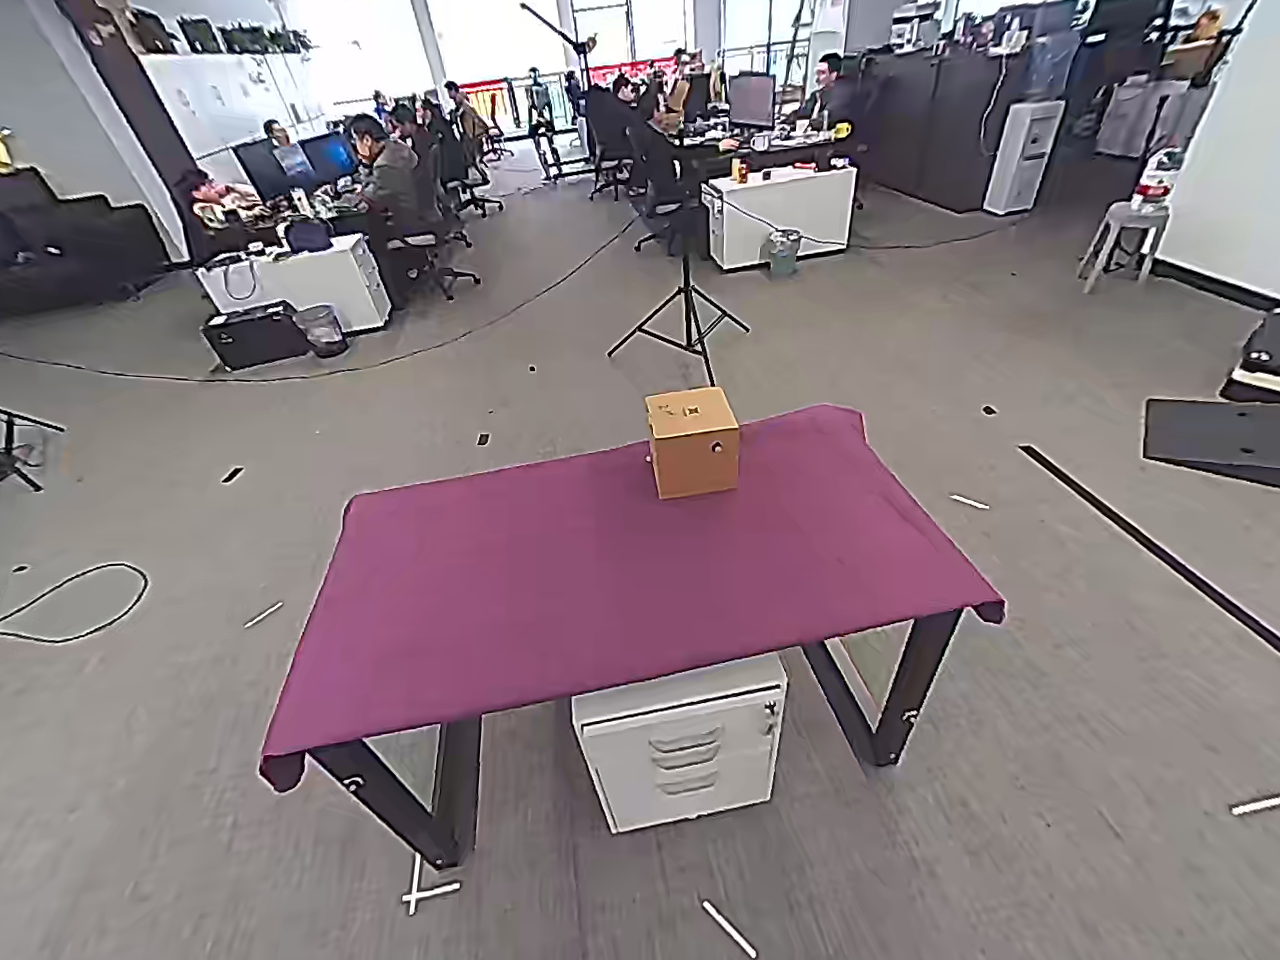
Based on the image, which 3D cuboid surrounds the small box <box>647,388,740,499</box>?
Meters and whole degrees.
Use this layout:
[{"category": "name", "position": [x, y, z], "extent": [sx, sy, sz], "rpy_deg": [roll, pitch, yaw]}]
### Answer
[{"category": "small box", "position": [0.115, -0.079, 1.194], "extent": [0.179, 0.176, 0.168], "rpy_deg": [-9, 40, -1]}]
